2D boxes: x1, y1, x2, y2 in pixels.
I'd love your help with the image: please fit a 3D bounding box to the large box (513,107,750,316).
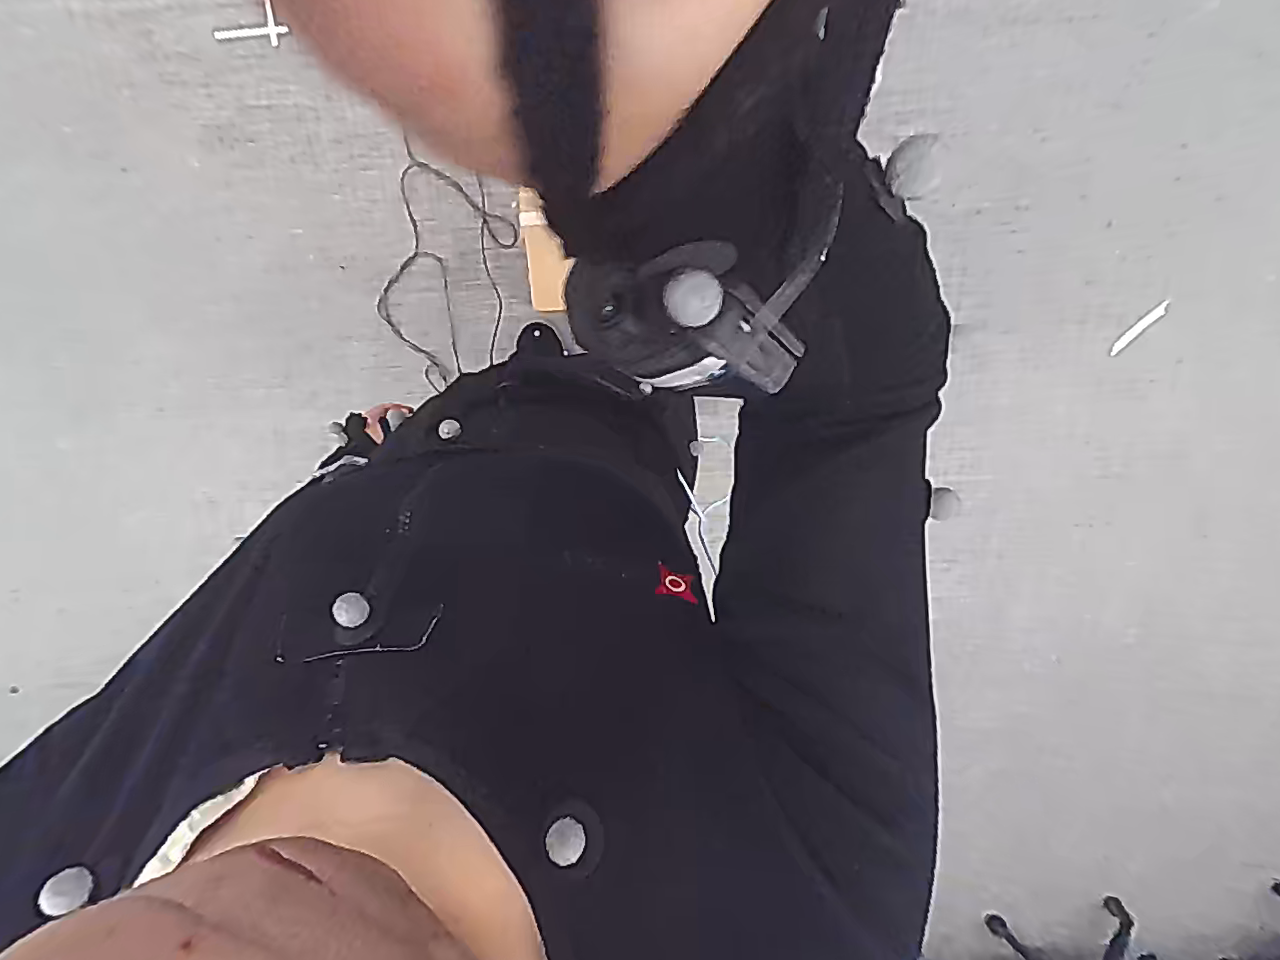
[{"bbox_3d":[-0.011,-0.505,1.088,0.408,0.320,0.320,-3,107,0],"label":"large box"}]
